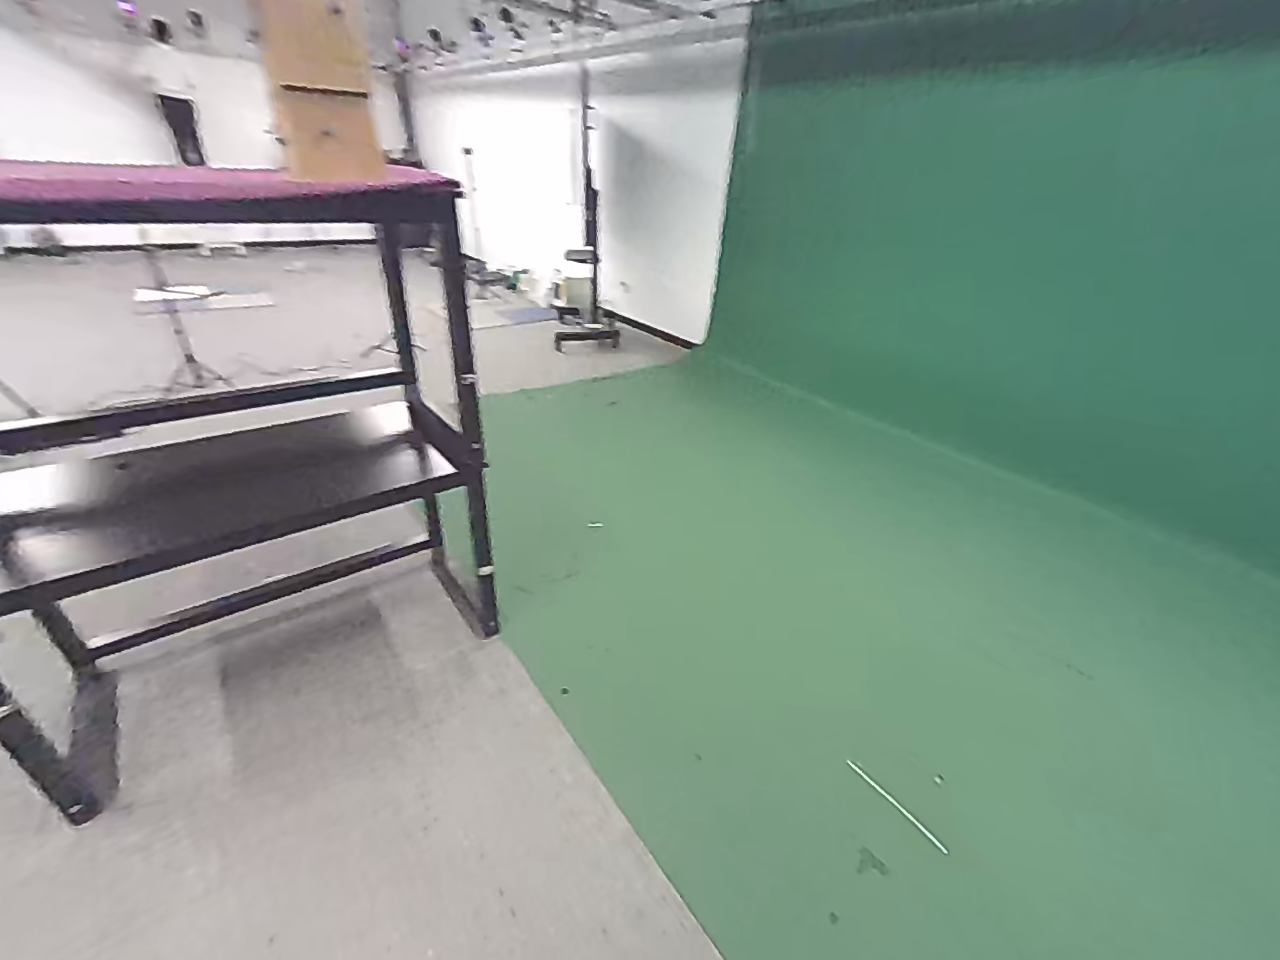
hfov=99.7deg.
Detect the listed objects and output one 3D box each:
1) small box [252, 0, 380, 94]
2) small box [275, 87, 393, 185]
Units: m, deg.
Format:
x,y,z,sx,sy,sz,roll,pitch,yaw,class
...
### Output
x,y,z,sx,sy,sz,roll,pitch,yaw,class
-0.658,-0.887,1.103,0.179,0.176,0.168,-19,35,-32,small box
-0.671,-0.750,1.192,0.179,0.176,0.168,-20,36,-32,small box
